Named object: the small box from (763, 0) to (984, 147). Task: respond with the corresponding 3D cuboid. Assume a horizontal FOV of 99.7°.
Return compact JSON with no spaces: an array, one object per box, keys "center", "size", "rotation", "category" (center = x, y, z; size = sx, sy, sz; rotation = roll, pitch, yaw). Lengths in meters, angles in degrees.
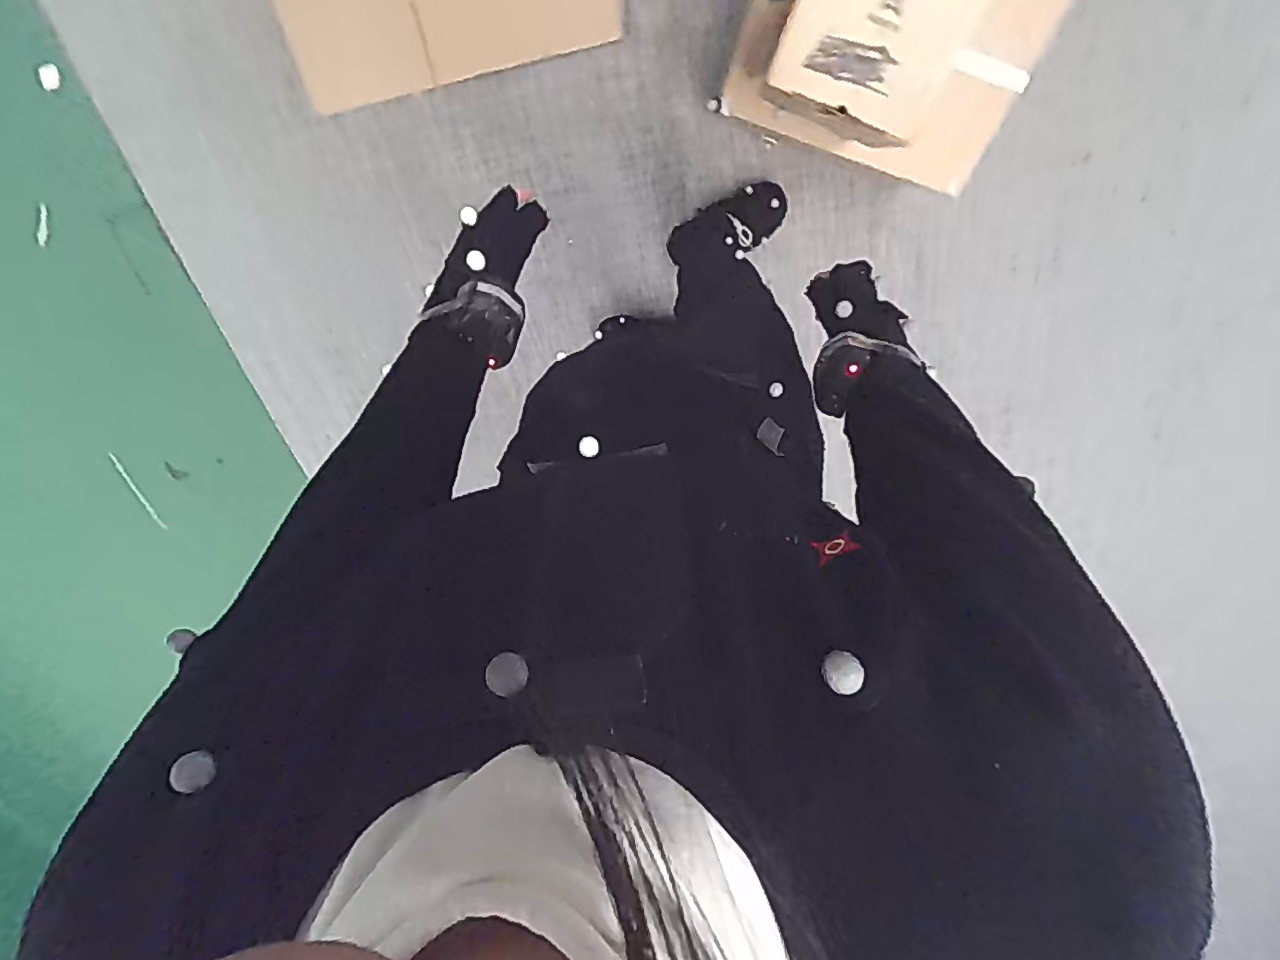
[{"center":[0.243,-0.483,0.581],"size":[0.168,0.176,0.179],"rotation":[19,123,-2],"category":"small box"}]
